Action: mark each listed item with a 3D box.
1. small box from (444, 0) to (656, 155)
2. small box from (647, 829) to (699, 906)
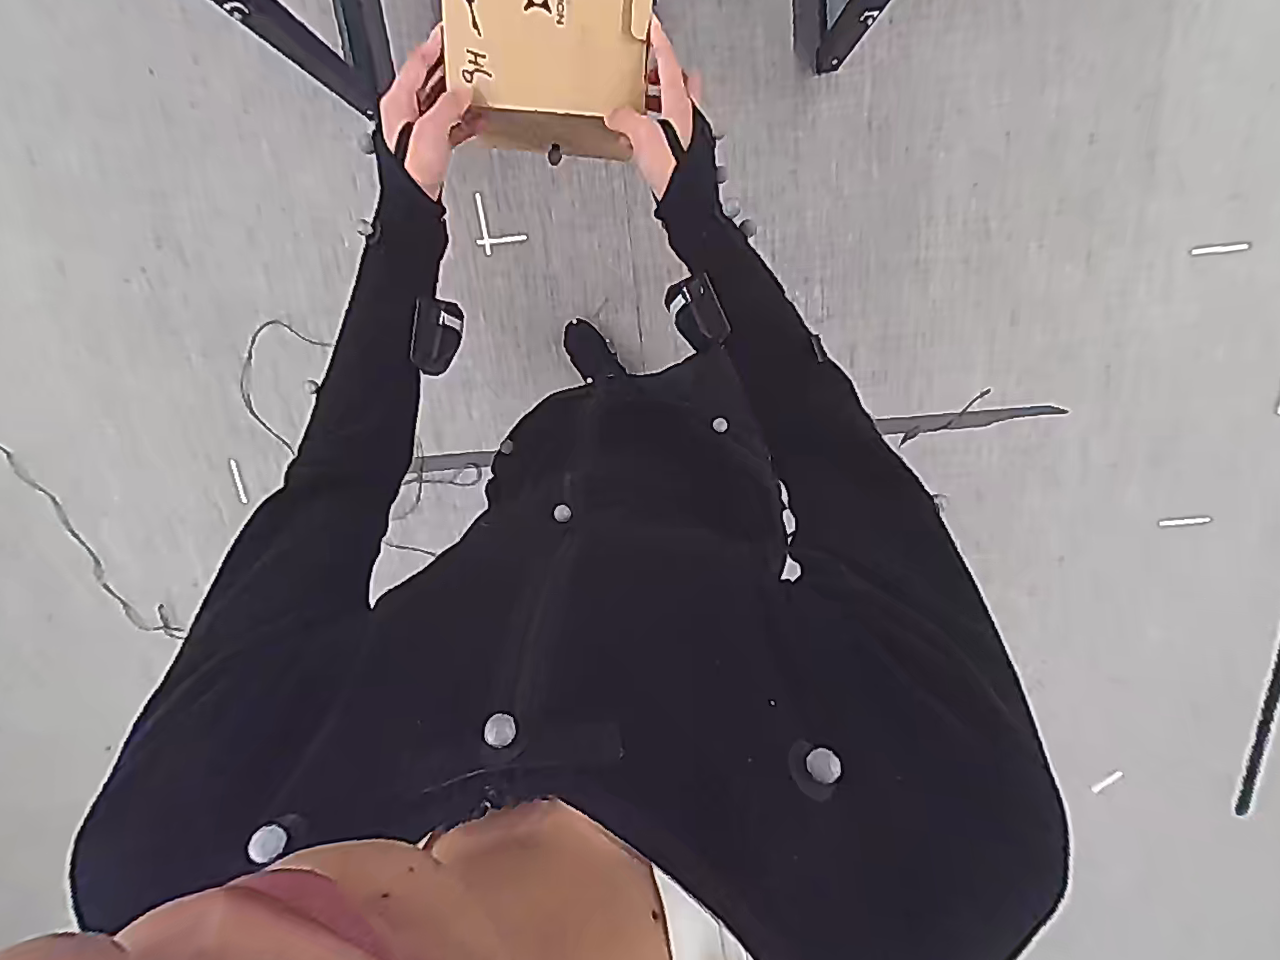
[{"bbox_3d":[-0.083,-0.429,0.522,0.179,0.176,0.168,2,110,-7],"label":"small box"},{"bbox_3d":[0.119,1.420,1.990,0.179,0.176,0.168,-4,106,1],"label":"small box"}]
